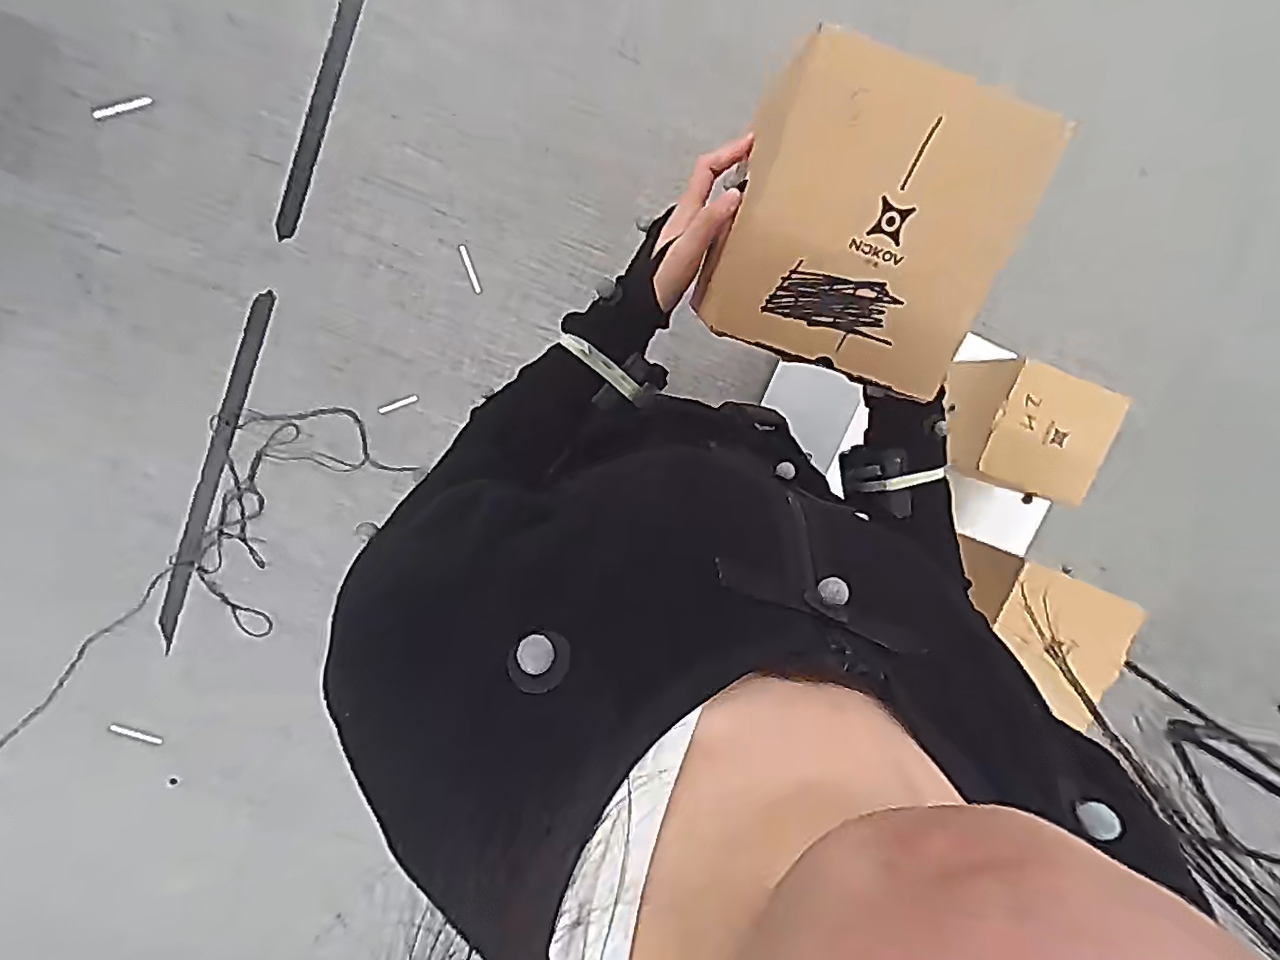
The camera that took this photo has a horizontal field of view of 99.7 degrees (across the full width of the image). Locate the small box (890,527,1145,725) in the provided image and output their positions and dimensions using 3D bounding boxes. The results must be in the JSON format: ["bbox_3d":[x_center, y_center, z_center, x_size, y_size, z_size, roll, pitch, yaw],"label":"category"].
[{"bbox_3d":[0.470,0.175,0.702,0.179,0.176,0.168,22,96,-7],"label":"small box"}]

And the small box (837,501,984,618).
[{"bbox_3d":[0.449,0.143,0.862,0.179,0.176,0.168,23,96,-6],"label":"small box"}]

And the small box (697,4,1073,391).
[{"bbox_3d":[0.148,-0.190,0.406,0.168,0.176,0.179,16,112,-8],"label":"small box"}]

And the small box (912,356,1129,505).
[{"bbox_3d":[0.566,-0.081,0.829,0.179,0.176,0.168,20,98,-7],"label":"small box"}]
